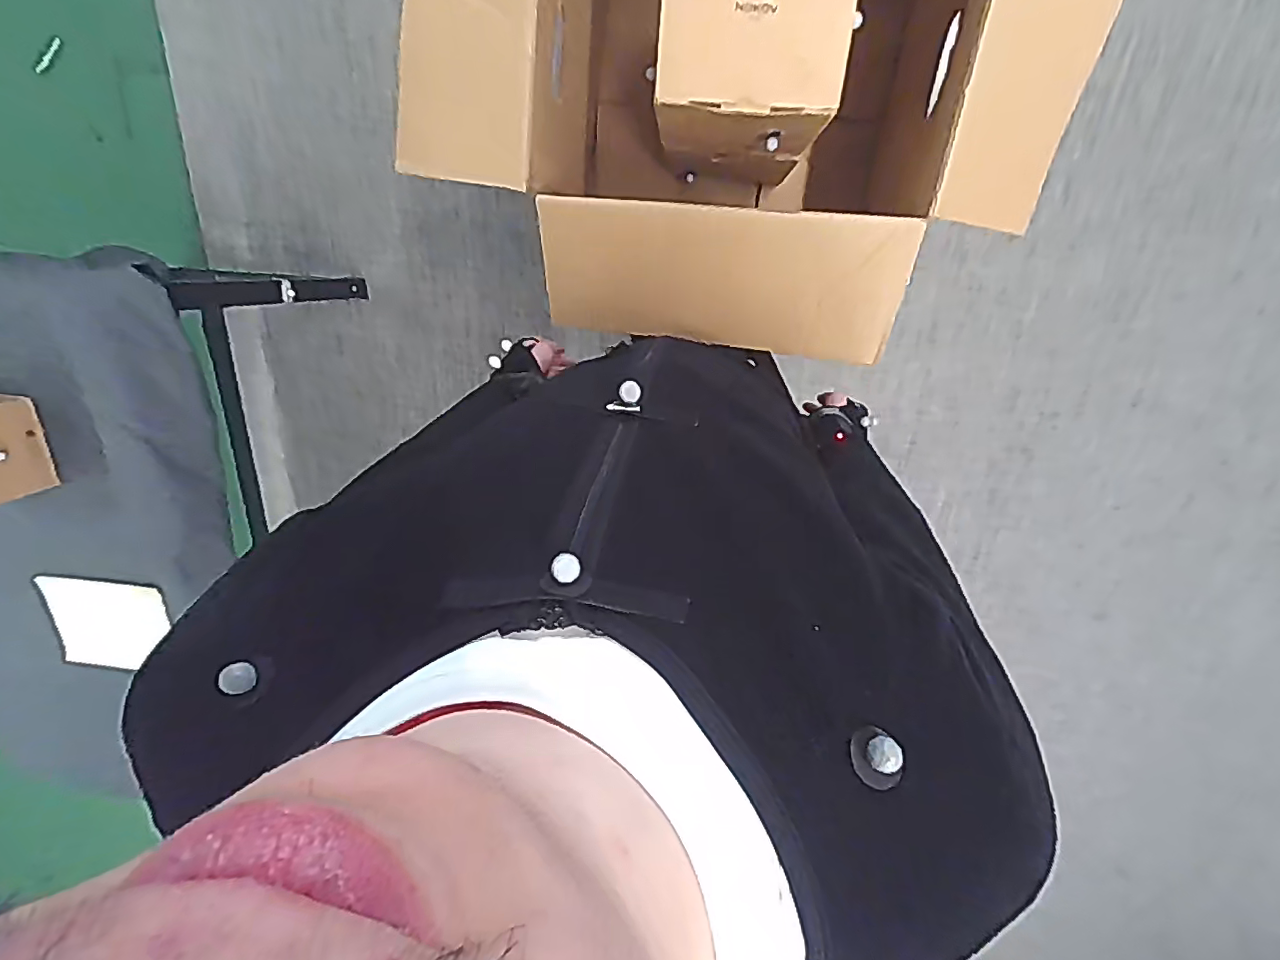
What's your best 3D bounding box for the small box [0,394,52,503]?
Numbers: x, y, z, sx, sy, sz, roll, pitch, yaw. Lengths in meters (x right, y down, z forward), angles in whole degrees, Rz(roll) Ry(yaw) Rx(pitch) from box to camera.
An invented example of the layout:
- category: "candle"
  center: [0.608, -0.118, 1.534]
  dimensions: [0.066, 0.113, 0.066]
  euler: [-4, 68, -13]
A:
- category: "small box"
  center: [-1.141, -0.049, 0.889]
  dimensions: [0.179, 0.176, 0.168]
  euler: [5, 111, 4]
